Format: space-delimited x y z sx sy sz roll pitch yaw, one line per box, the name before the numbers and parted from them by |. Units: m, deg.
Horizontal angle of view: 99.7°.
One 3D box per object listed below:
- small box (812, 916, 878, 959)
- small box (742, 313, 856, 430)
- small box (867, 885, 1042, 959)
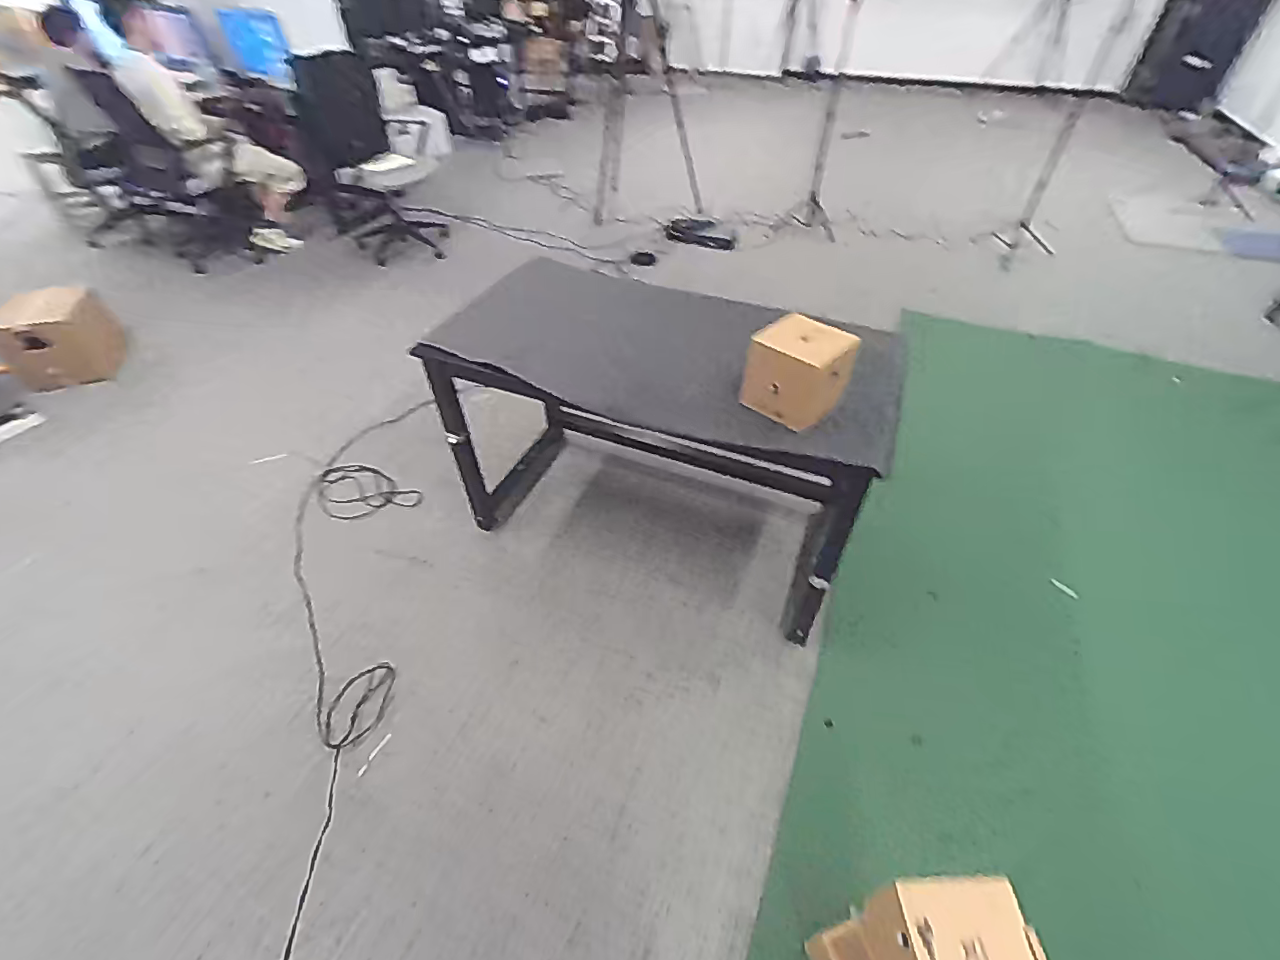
small box | 0.449 0.949 1.030 0.179 0.176 0.168 -15 46 -14
small box | 0.341 -0.237 1.189 0.168 0.176 0.179 34 52 30
small box | 0.466 0.714 0.800 0.179 0.176 0.168 -1 44 0
